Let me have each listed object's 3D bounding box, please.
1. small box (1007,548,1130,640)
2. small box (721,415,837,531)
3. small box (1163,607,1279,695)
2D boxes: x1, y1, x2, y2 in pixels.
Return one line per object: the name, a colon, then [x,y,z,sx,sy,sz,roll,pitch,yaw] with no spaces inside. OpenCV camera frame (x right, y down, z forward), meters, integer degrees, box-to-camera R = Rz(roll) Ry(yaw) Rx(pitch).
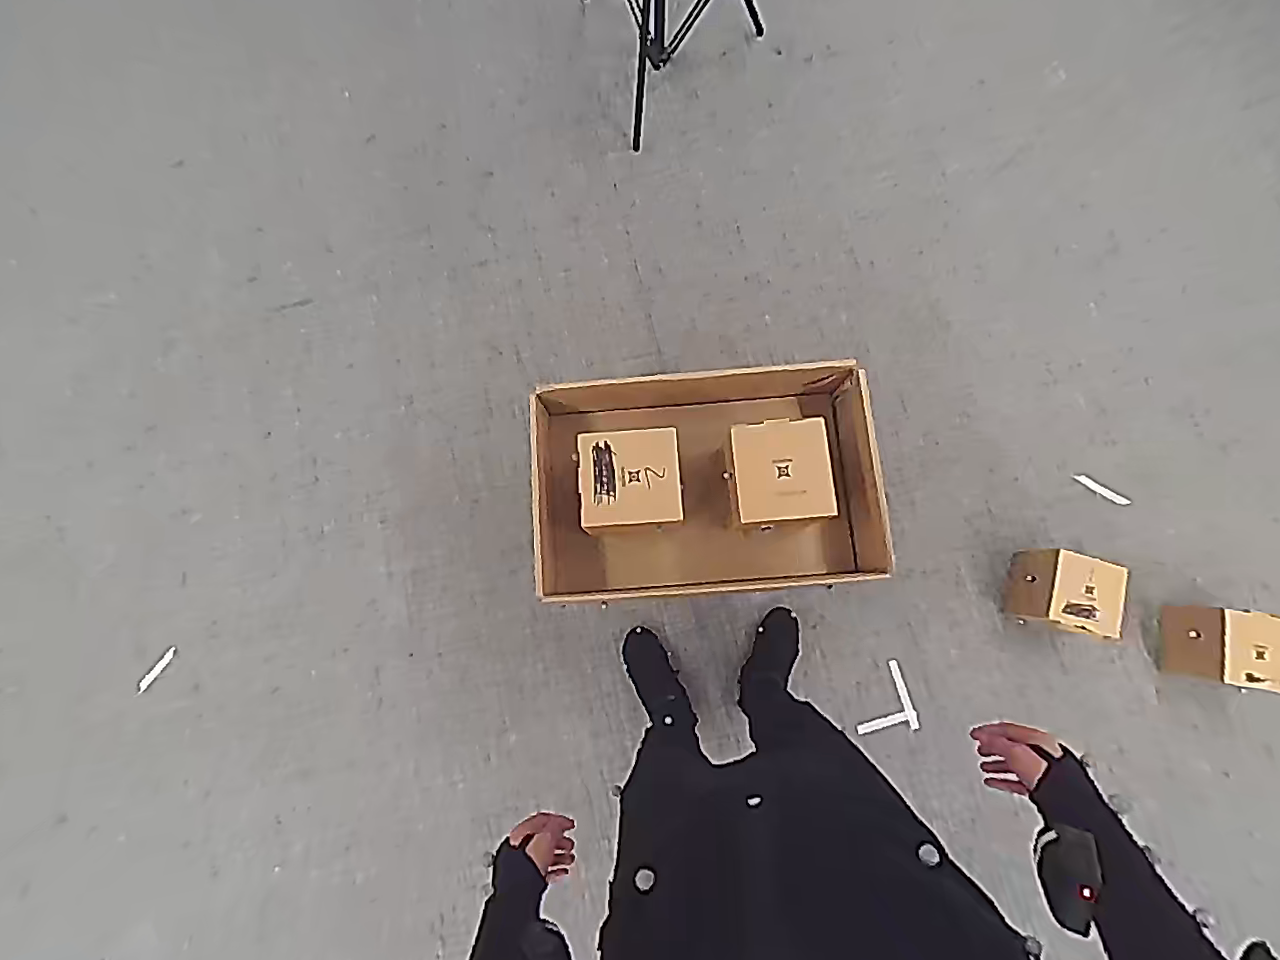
small box: [1.060,0.282,1.353,0.168,0.176,0.179,17,80,5]
small box: [0.247,-0.006,1.003,0.168,0.176,0.179,-5,78,2]
small box: [1.433,0.410,1.318,0.168,0.176,0.179,10,79,4]
